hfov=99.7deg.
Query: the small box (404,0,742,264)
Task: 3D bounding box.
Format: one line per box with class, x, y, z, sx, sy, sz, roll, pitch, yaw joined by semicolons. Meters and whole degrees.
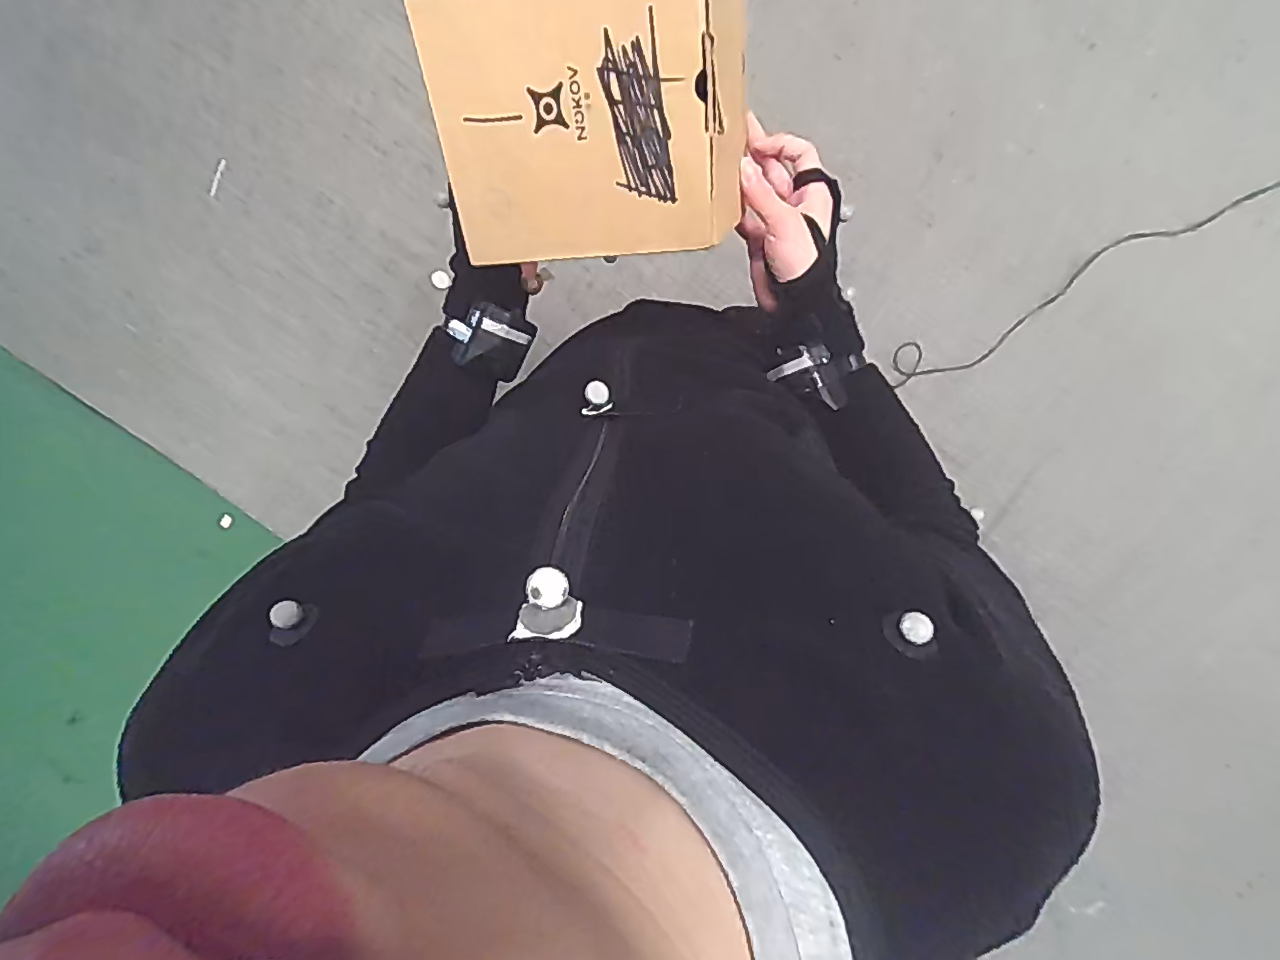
small box;-0.023;-0.258;0.379;0.179;0.176;0.168;3;122;17
